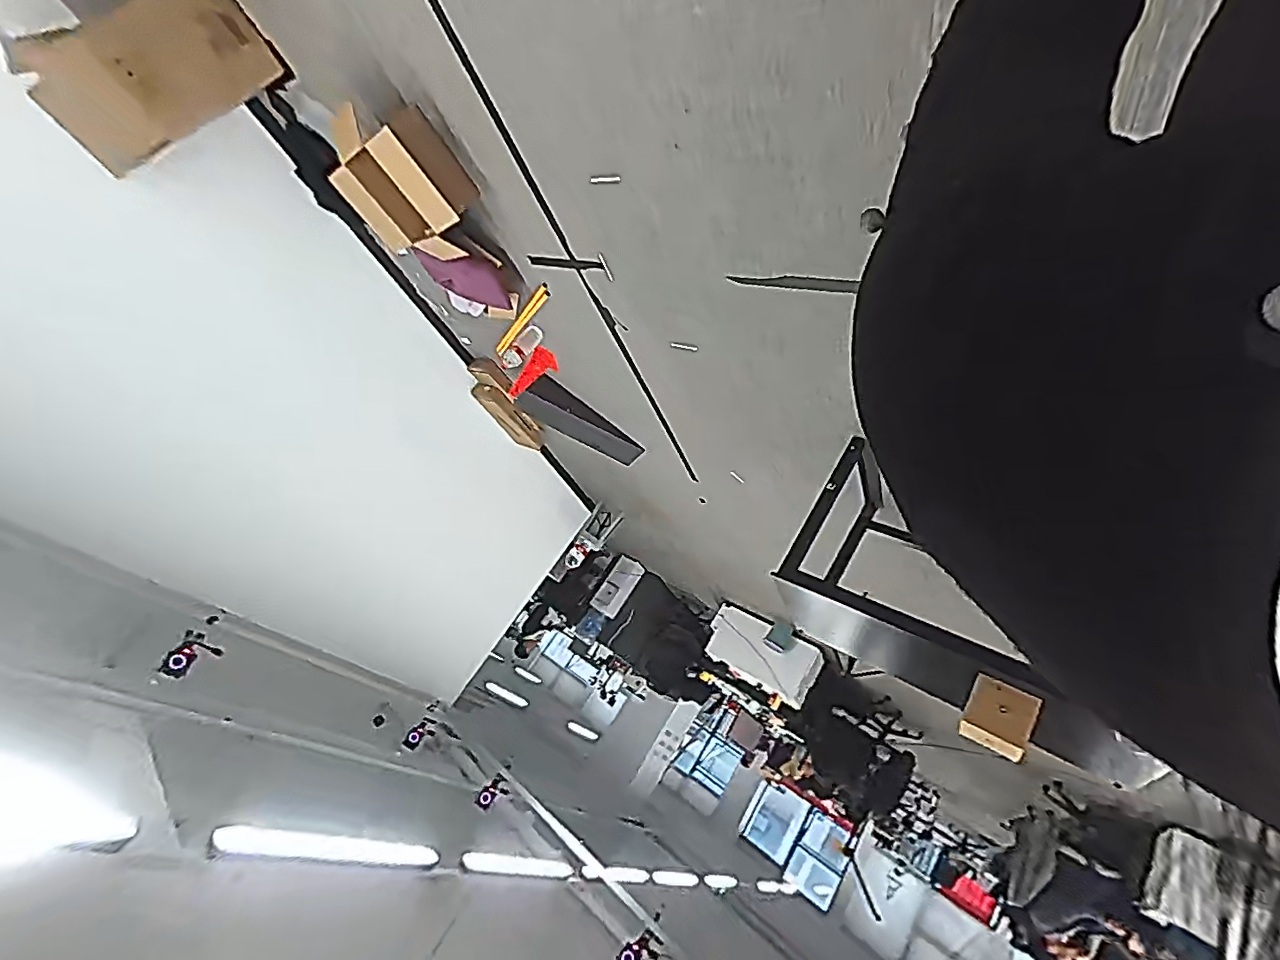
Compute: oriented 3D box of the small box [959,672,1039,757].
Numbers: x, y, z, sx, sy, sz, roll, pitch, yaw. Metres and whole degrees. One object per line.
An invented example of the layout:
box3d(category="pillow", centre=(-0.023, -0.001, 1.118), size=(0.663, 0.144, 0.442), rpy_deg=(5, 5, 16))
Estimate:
box3d(category="small box", centre=(1.123, 0.731, 1.693), size=(0.168, 0.176, 0.179), rpy_deg=(21, 158, 38))
